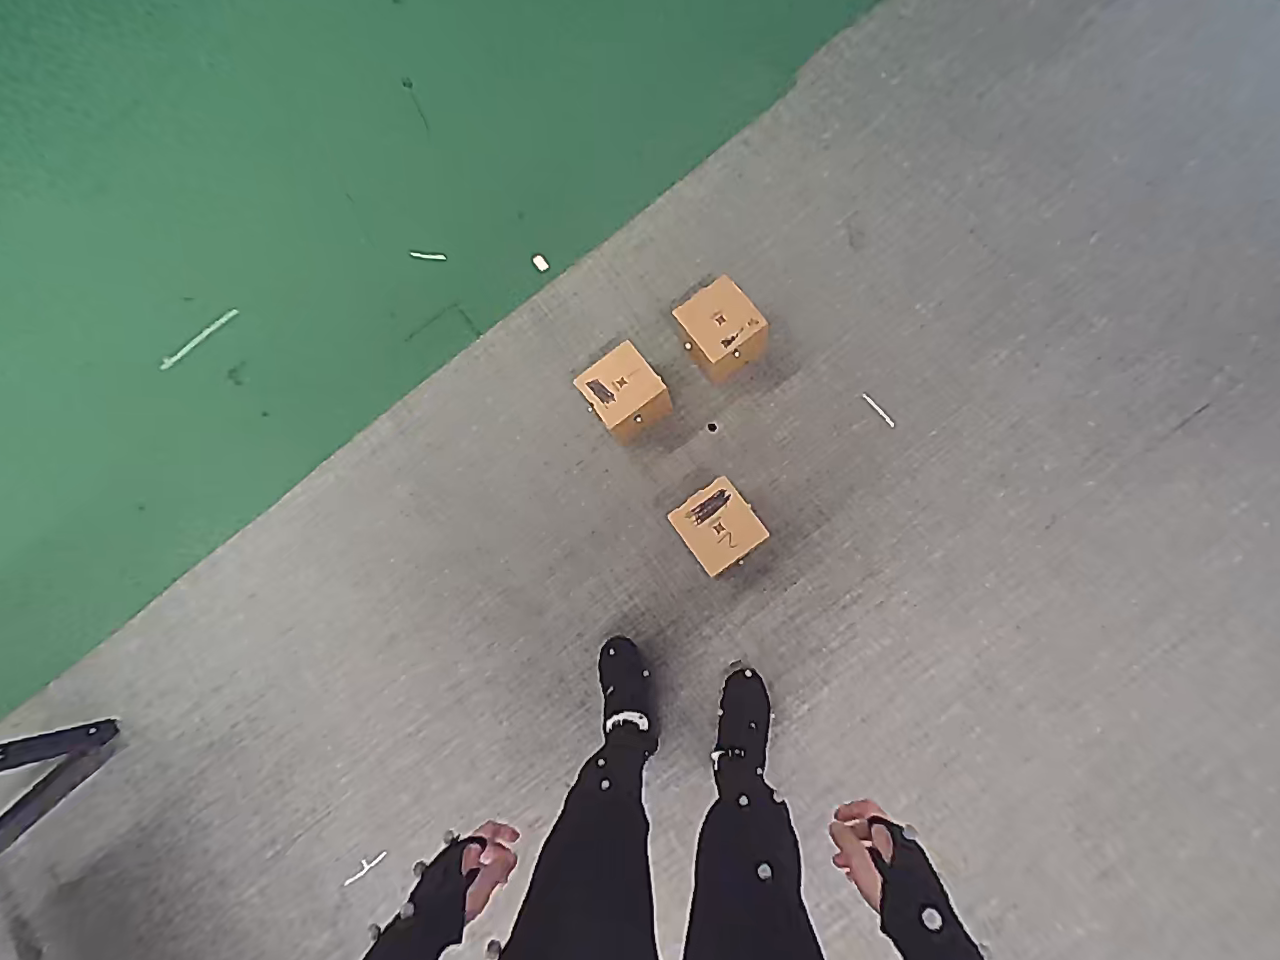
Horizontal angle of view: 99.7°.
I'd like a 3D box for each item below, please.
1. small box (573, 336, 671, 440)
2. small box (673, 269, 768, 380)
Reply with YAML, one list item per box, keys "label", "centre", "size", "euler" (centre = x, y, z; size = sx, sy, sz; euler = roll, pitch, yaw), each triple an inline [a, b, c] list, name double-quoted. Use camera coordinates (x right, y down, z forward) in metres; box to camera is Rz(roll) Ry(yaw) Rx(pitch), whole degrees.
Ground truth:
- label: "small box"
  centre: [-0.038, -0.226, 1.382]
  size: [0.179, 0.176, 0.168]
  euler: [-37, 76, 2]
- label: "small box"
  centre: [0.203, -0.385, 1.368]
  size: [0.168, 0.176, 0.179]
  euler: [-36, 75, 2]
